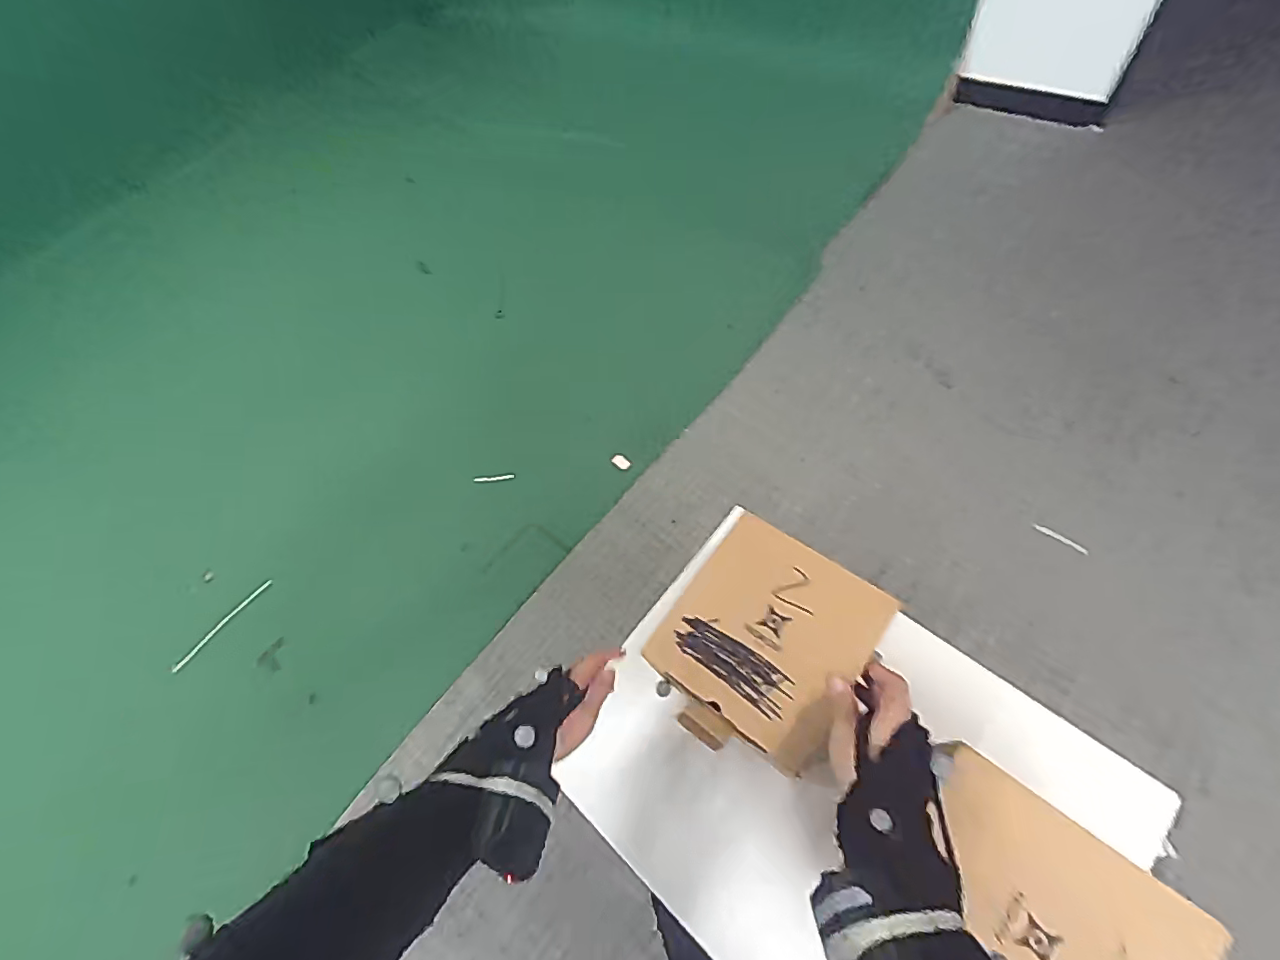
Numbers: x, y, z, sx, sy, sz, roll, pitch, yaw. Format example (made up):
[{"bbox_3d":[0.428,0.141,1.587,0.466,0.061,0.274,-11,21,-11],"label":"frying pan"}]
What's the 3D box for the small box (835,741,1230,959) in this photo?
[{"bbox_3d":[0.278,0.340,0.431,0.179,0.176,0.168,33,74,25],"label":"small box"}]
